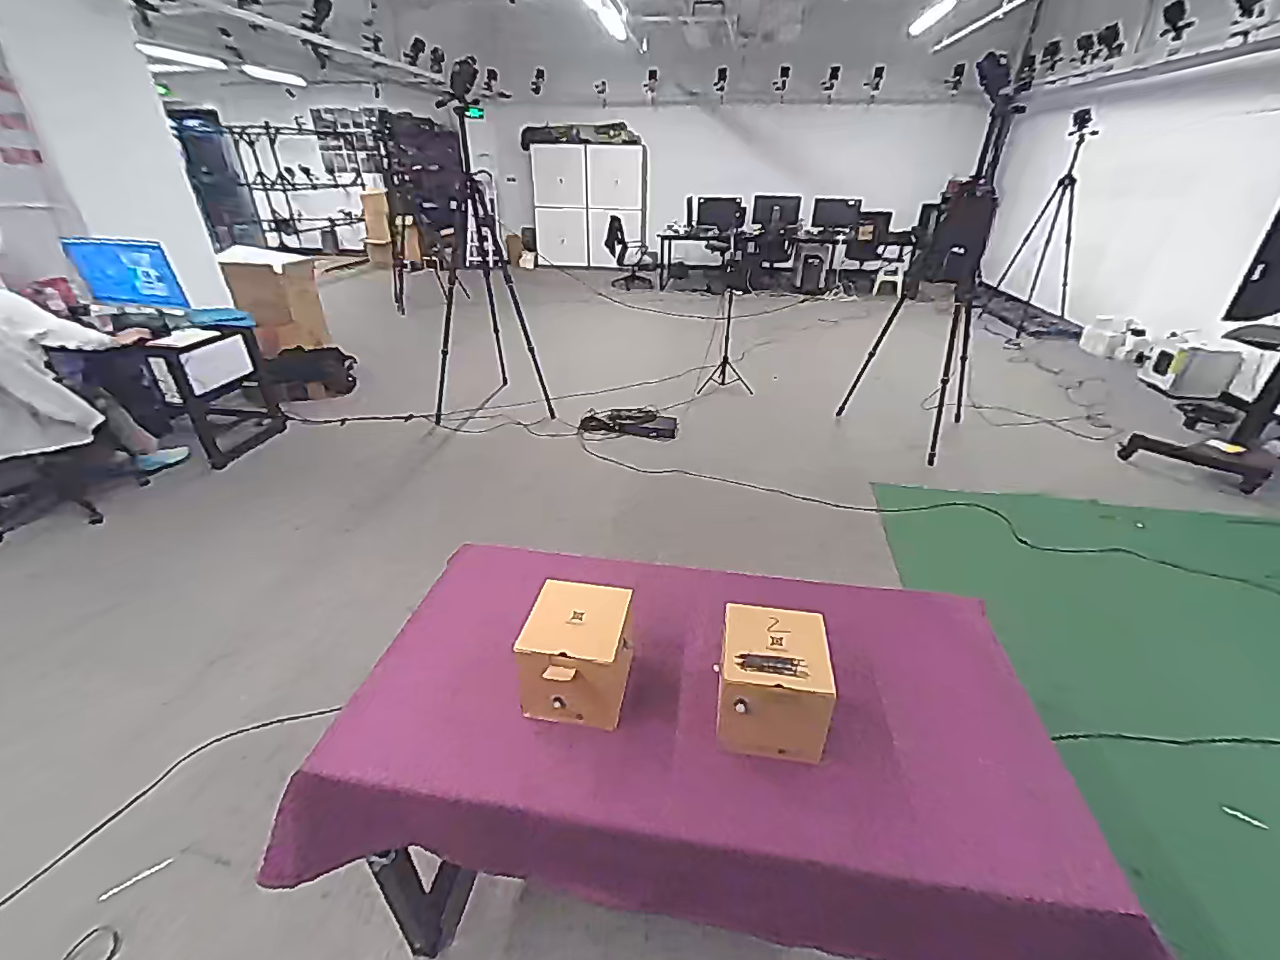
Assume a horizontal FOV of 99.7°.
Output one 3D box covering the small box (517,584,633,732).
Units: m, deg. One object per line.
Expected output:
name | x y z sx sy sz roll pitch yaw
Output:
small box | -0.109 0.318 0.979 0.168 0.176 0.179 5 31 8
